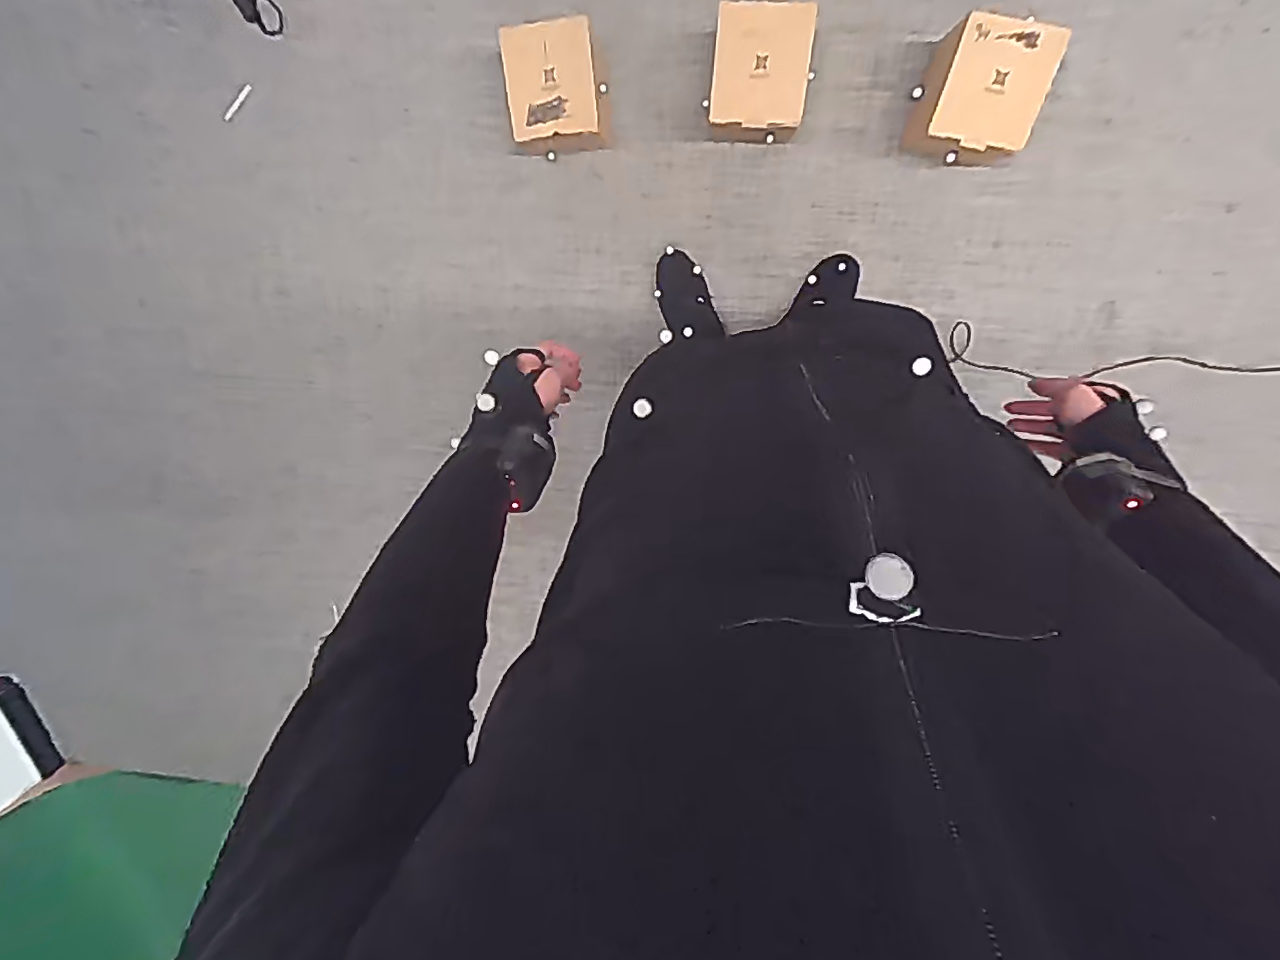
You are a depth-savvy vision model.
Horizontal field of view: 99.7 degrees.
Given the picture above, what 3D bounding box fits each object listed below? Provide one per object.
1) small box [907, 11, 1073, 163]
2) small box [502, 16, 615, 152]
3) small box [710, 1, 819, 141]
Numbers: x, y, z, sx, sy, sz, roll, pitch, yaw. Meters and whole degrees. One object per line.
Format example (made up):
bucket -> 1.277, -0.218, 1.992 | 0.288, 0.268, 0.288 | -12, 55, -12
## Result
small box -> 0.605, -0.686, 0.966 | 0.168, 0.176, 0.179 | 14, 116, 3
small box -> -0.148, -0.749, 1.046 | 0.168, 0.176, 0.179 | -2, 112, 8
small box -> 0.220, -0.742, 0.999 | 0.168, 0.176, 0.179 | 5, 113, 5
